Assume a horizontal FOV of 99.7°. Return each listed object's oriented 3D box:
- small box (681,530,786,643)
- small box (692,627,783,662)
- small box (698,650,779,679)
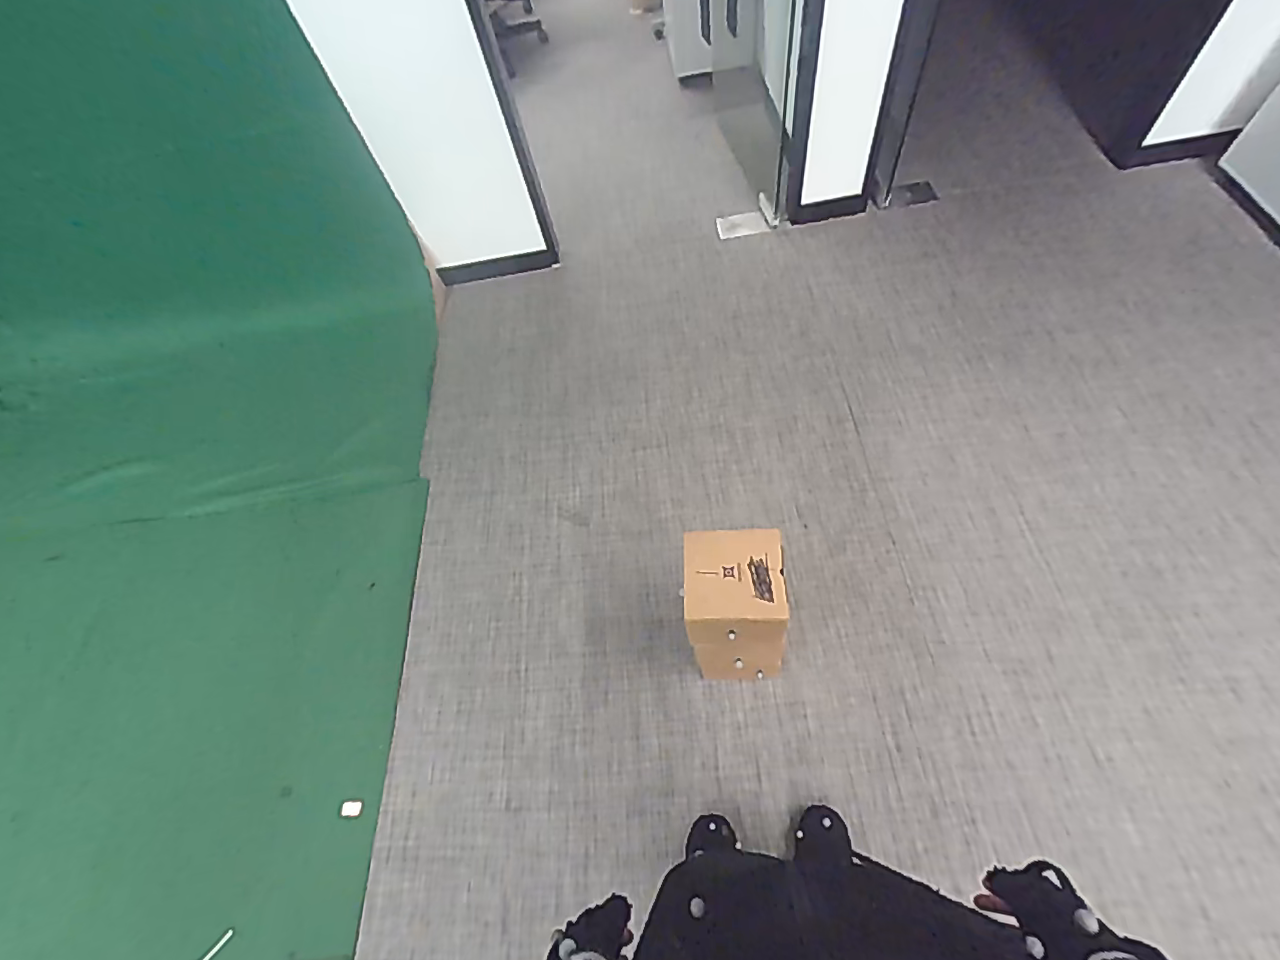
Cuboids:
[{"bbox_3d":[0.173,0.202,1.011,0.179,0.176,0.168,-2,59,10],"label":"small box"},{"bbox_3d":[0.199,0.286,1.150,0.179,0.176,0.168,-3,59,7],"label":"small box"},{"bbox_3d":[0.226,0.371,1.288,0.179,0.176,0.168,-6,58,7],"label":"small box"}]
